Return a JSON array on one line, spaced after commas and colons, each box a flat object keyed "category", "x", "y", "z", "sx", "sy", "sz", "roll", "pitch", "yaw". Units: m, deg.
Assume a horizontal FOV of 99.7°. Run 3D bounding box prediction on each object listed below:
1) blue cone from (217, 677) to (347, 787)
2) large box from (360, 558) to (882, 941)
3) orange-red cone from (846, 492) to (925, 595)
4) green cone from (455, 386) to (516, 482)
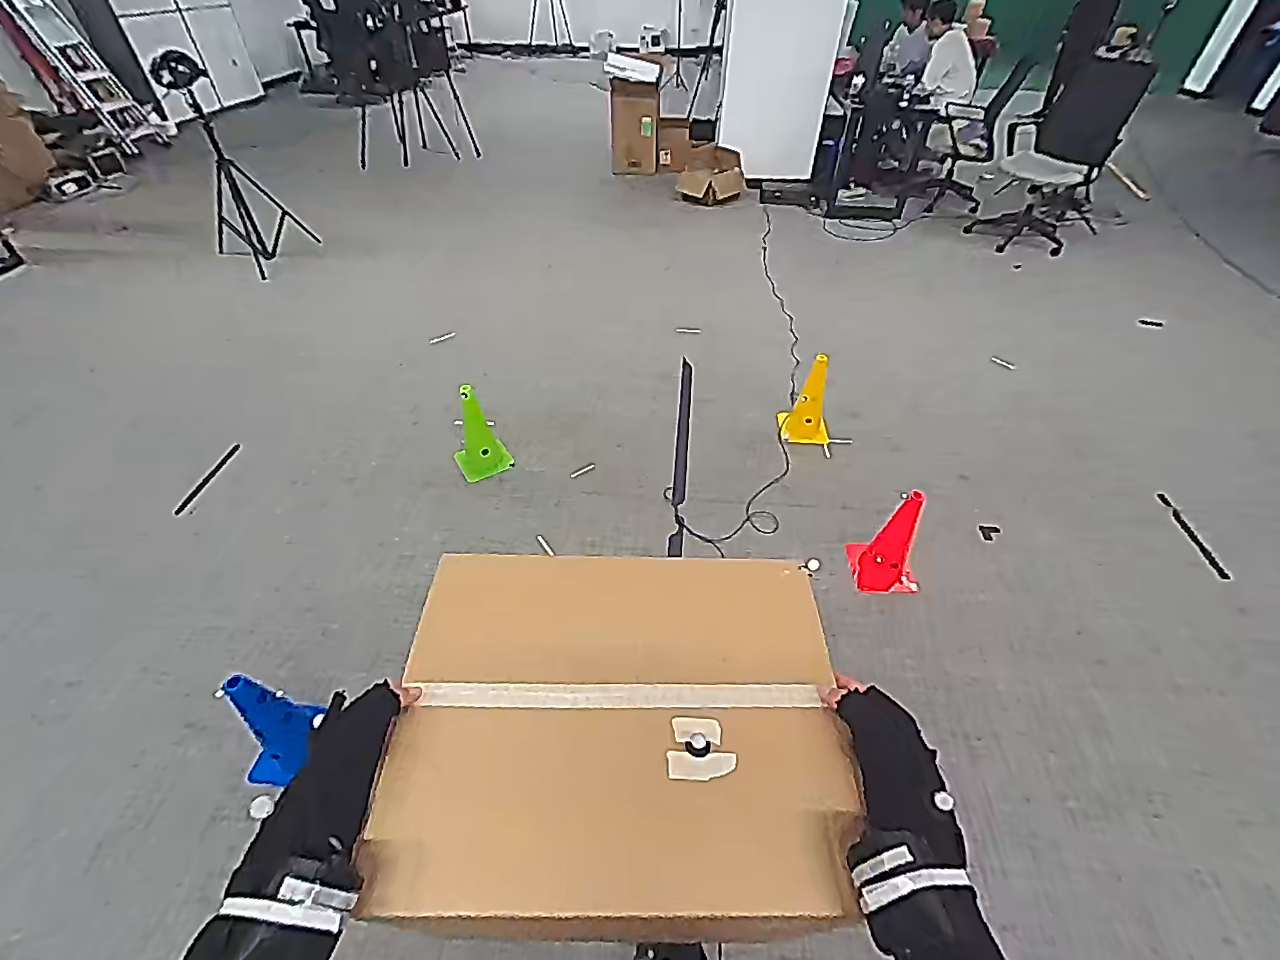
[{"category": "blue cone", "x": -0.884, "y": 0.575, "z": 1.294, "sx": 0.192, "sy": 0.380, "sz": 0.193, "roll": 5, "pitch": 44, "yaw": 6}, {"category": "large box", "x": -0.020, "y": 0.305, "z": 0.613, "sx": 0.408, "sy": 0.320, "sz": 0.320, "roll": 2, "pitch": 47, "yaw": -2}, {"category": "orange-red cone", "x": 0.812, "y": 0.175, "z": 1.703, "sx": 0.198, "sy": 0.360, "sz": 0.199, "roll": 3, "pitch": 43, "yaw": 1}, {"category": "green cone", "x": -0.631, "y": -0.204, "z": 2.075, "sx": 0.202, "sy": 0.368, "sz": 0.200, "roll": -25, "pitch": 49, "yaw": -22}]
